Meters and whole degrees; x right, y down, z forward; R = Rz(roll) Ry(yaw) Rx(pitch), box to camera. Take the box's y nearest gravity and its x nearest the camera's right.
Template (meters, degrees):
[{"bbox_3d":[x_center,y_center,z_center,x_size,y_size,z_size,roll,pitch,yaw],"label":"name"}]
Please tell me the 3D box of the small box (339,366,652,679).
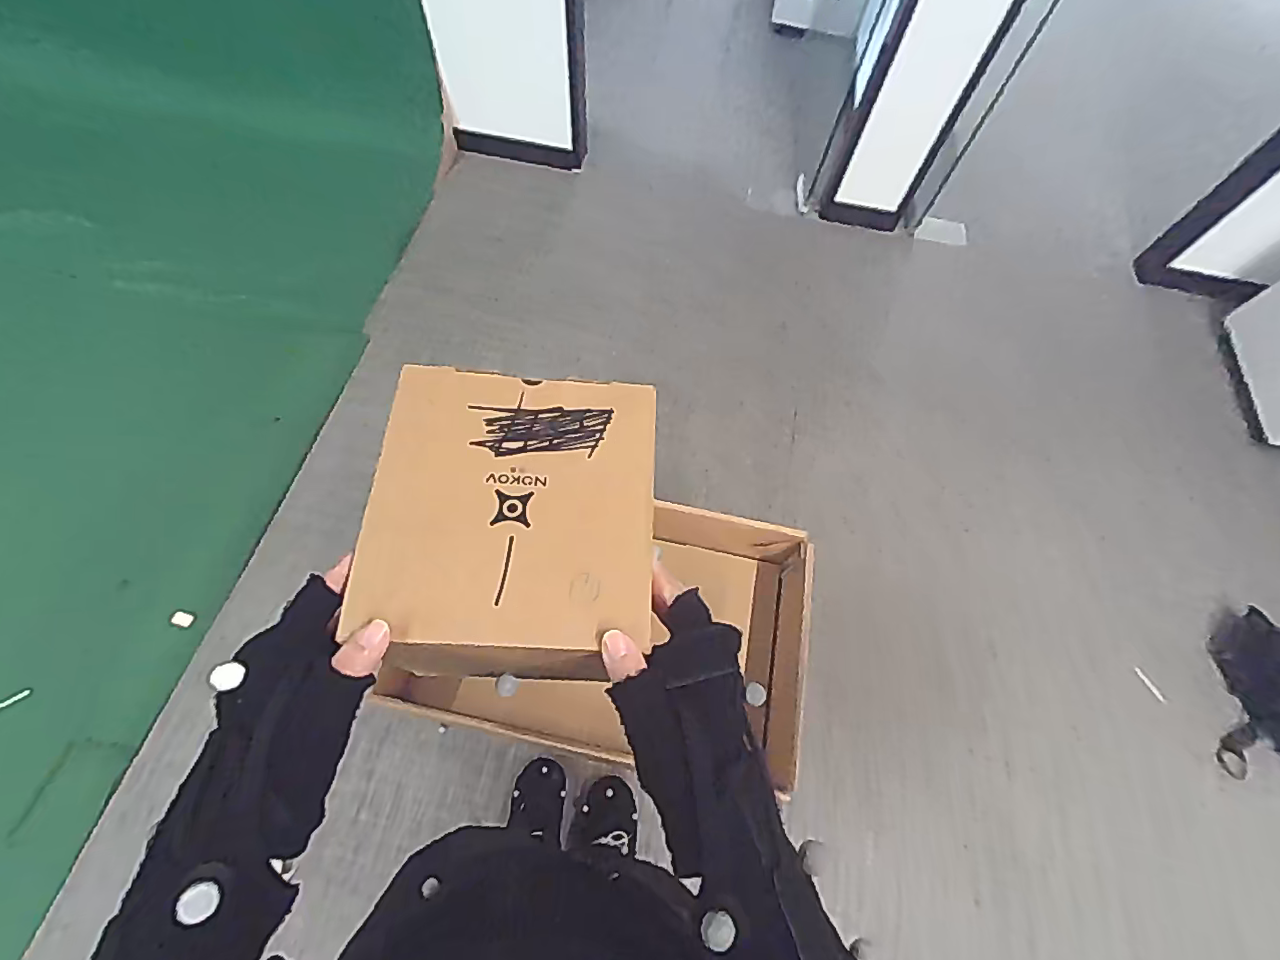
[{"bbox_3d":[-0.084,0.043,0.397,0.168,0.176,0.179,4,65,-5],"label":"small box"}]
